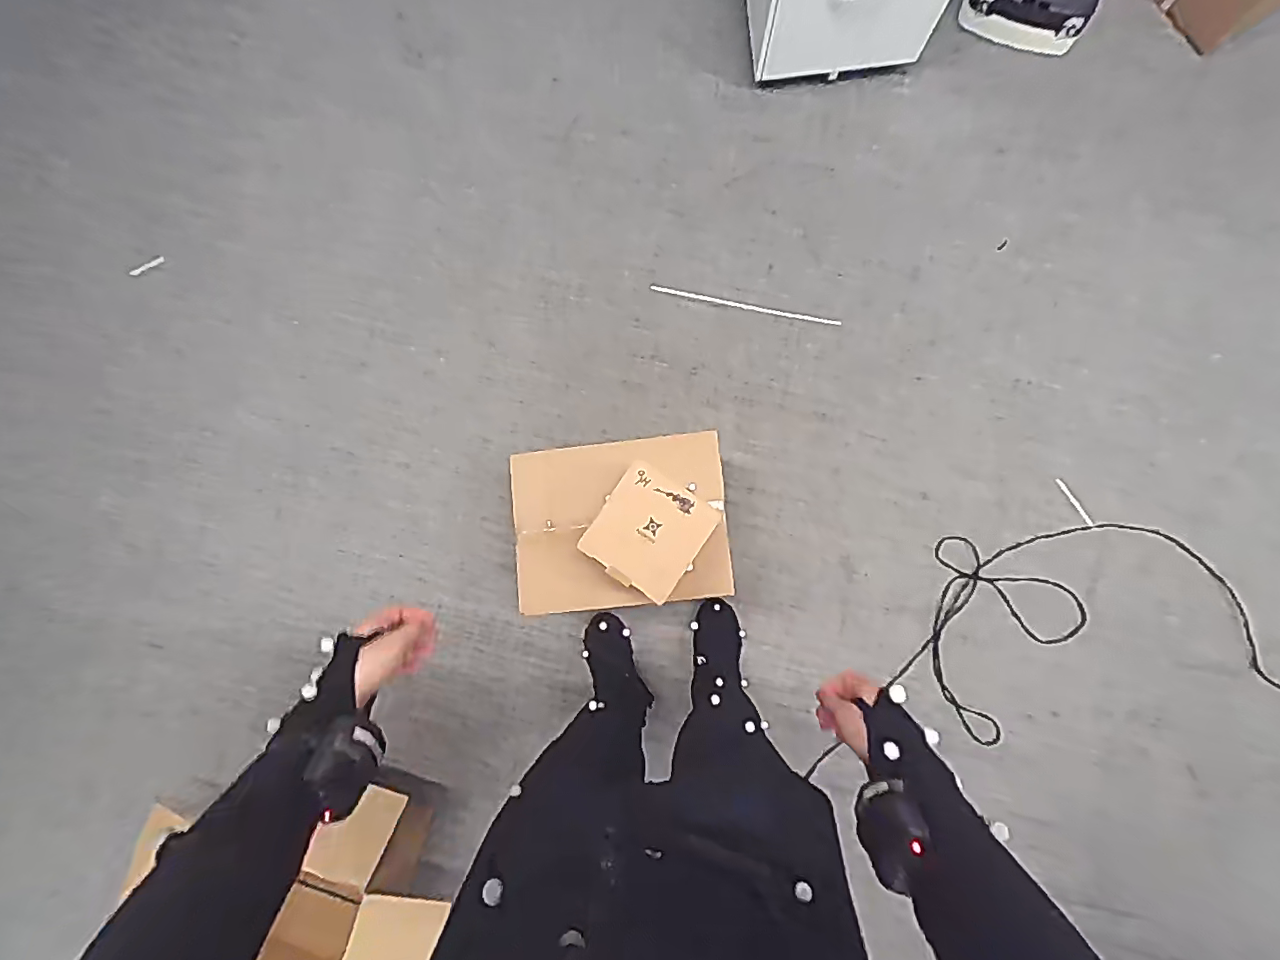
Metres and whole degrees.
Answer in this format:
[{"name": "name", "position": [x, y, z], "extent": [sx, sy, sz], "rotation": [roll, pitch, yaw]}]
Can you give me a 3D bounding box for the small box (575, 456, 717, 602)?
[{"name": "small box", "position": [0.016, 0.080, 0.931], "extent": [0.168, 0.176, 0.179], "rotation": [34, 90, 4]}]
